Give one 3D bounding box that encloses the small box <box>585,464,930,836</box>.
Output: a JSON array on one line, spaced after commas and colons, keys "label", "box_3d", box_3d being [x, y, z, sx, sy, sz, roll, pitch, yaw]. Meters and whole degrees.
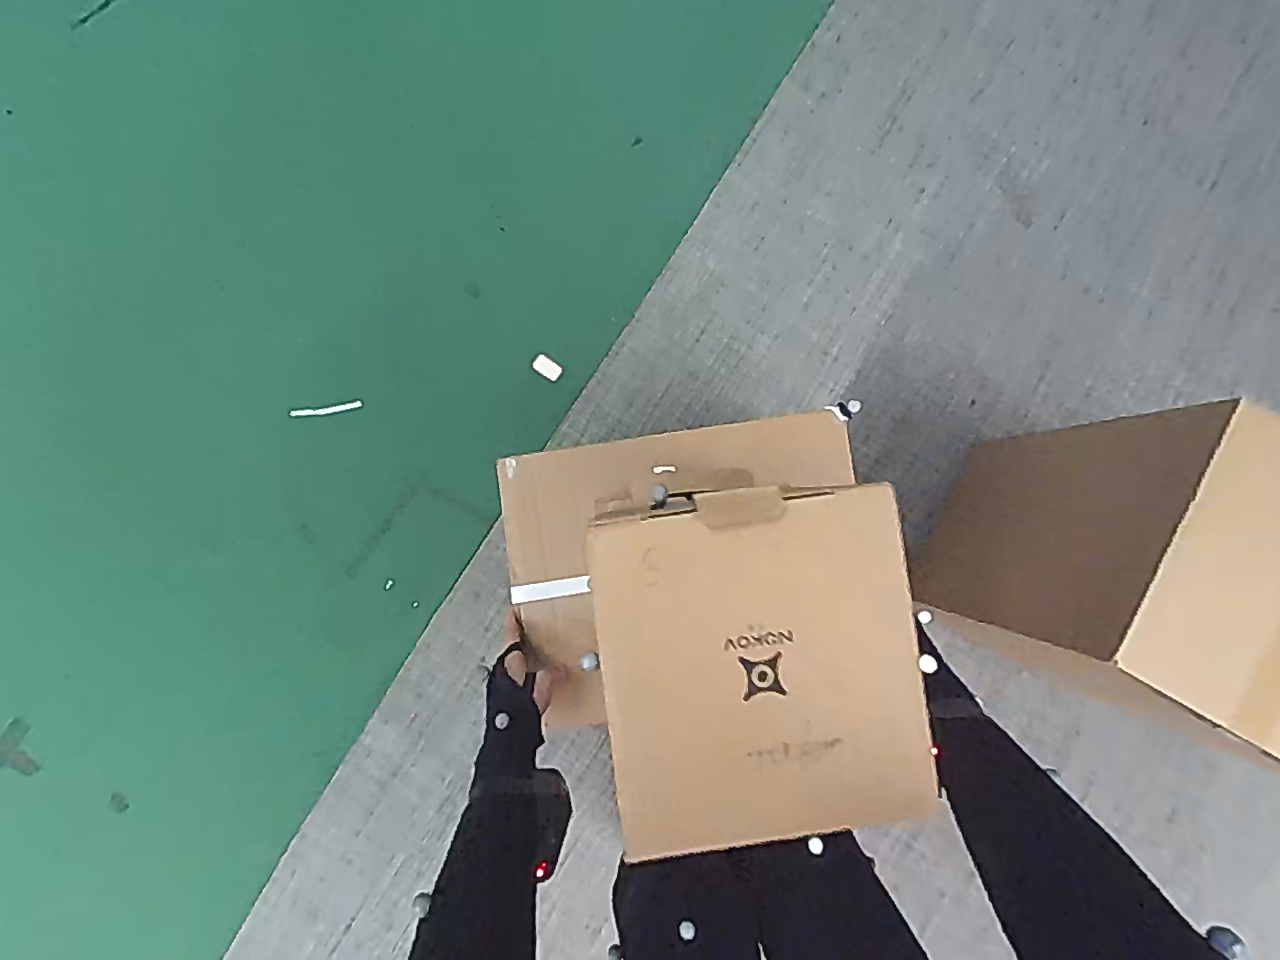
[{"label": "small box", "box_3d": [0.058, 0.091, 0.361, 0.168, 0.176, 0.179, -7, 88, -1]}]
